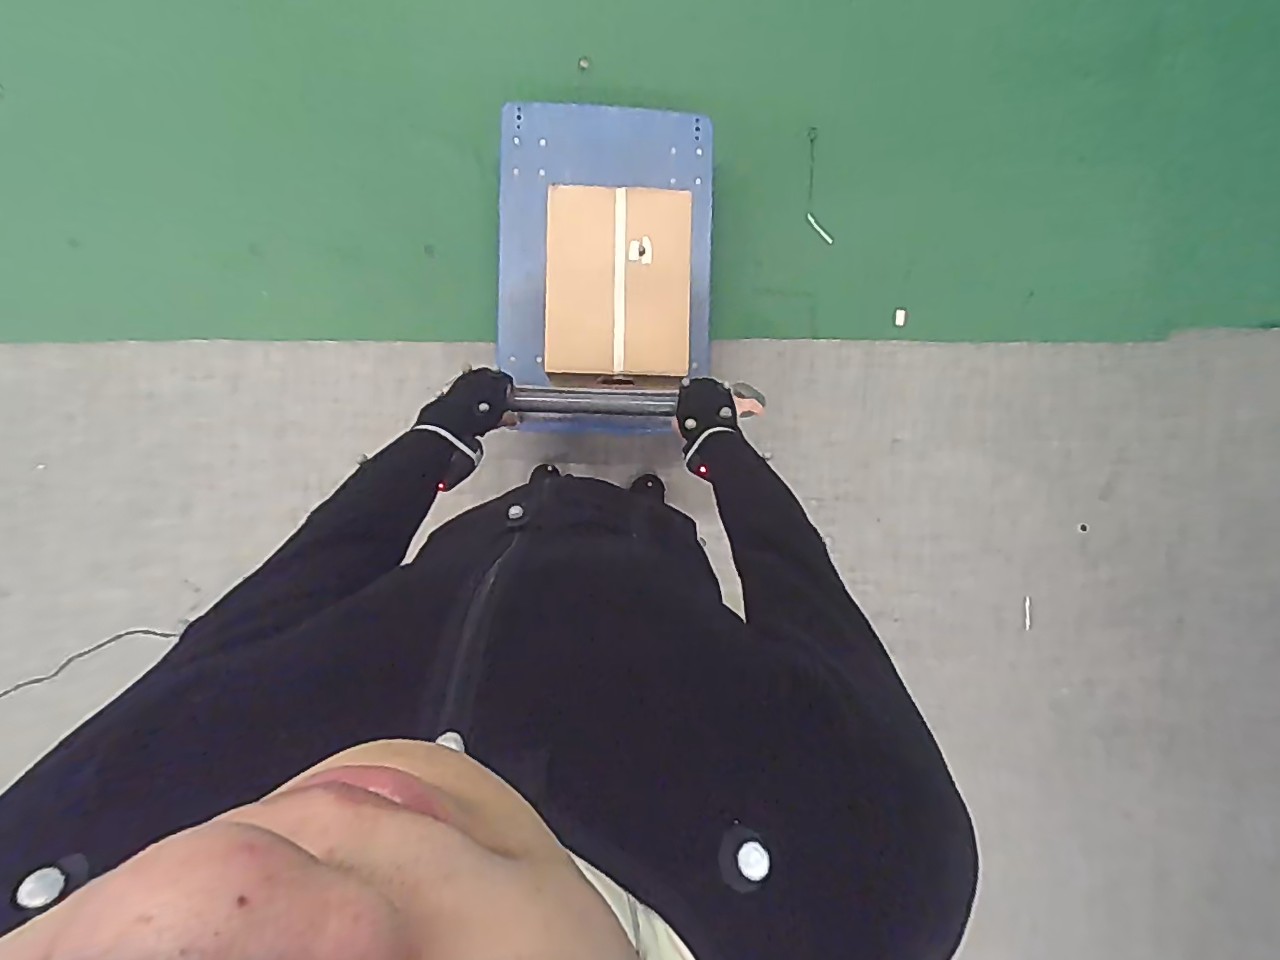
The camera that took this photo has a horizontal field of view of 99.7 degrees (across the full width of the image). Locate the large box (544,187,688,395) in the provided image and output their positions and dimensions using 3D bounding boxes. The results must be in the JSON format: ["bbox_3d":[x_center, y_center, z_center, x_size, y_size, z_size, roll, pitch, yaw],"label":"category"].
[{"bbox_3d":[-0.060,-0.429,1.315,0.320,0.320,0.408,1,90,-5],"label":"large box"}]
